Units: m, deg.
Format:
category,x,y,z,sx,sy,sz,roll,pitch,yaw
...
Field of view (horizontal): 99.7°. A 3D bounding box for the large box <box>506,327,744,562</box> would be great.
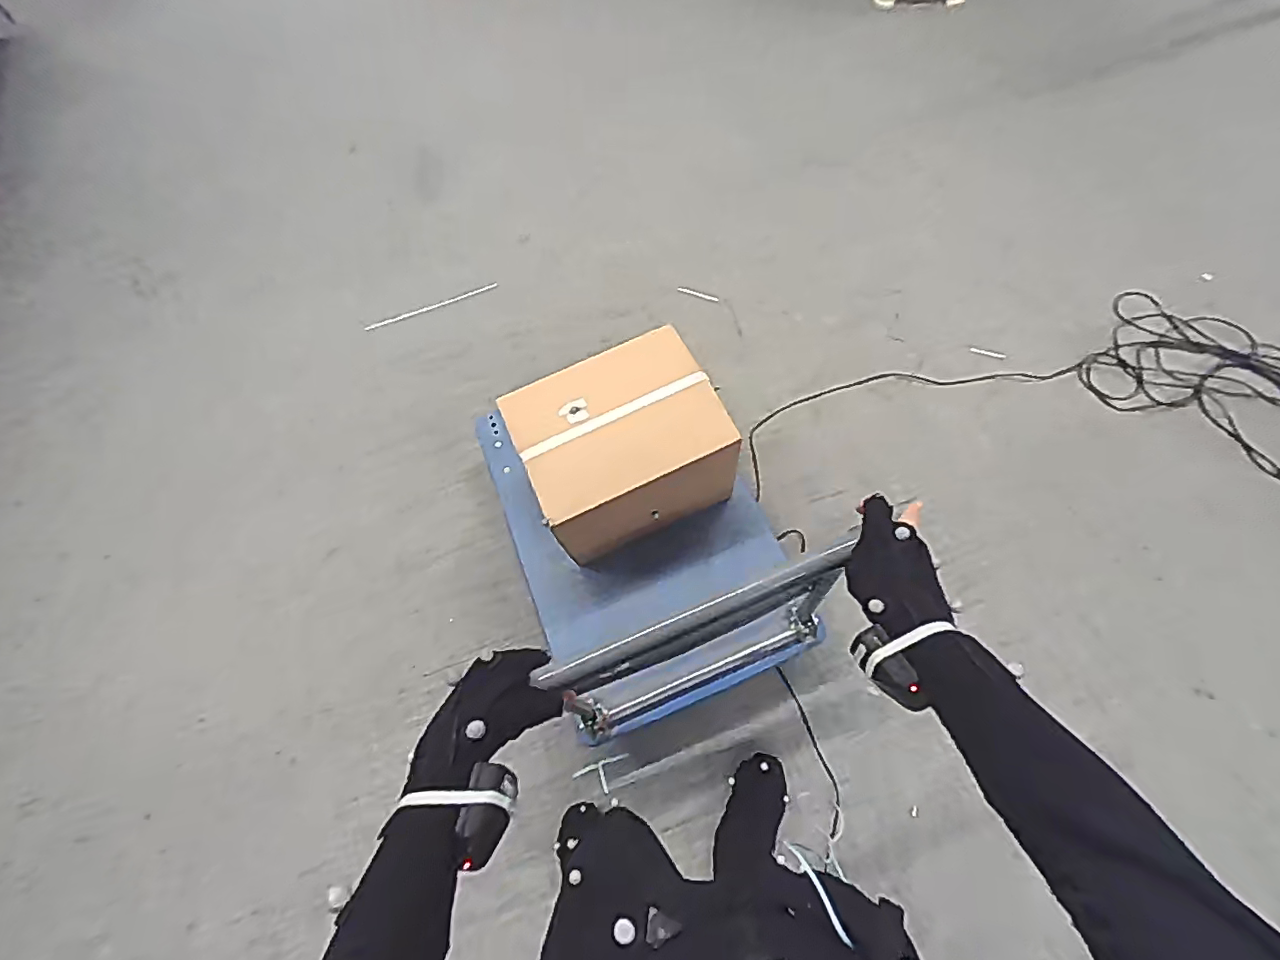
category,x,y,z,sx,sy,sz,roll,pitch,yaw
large box,-0.024,-0.064,1.220,0.408,0.320,0.320,-25,67,-5
